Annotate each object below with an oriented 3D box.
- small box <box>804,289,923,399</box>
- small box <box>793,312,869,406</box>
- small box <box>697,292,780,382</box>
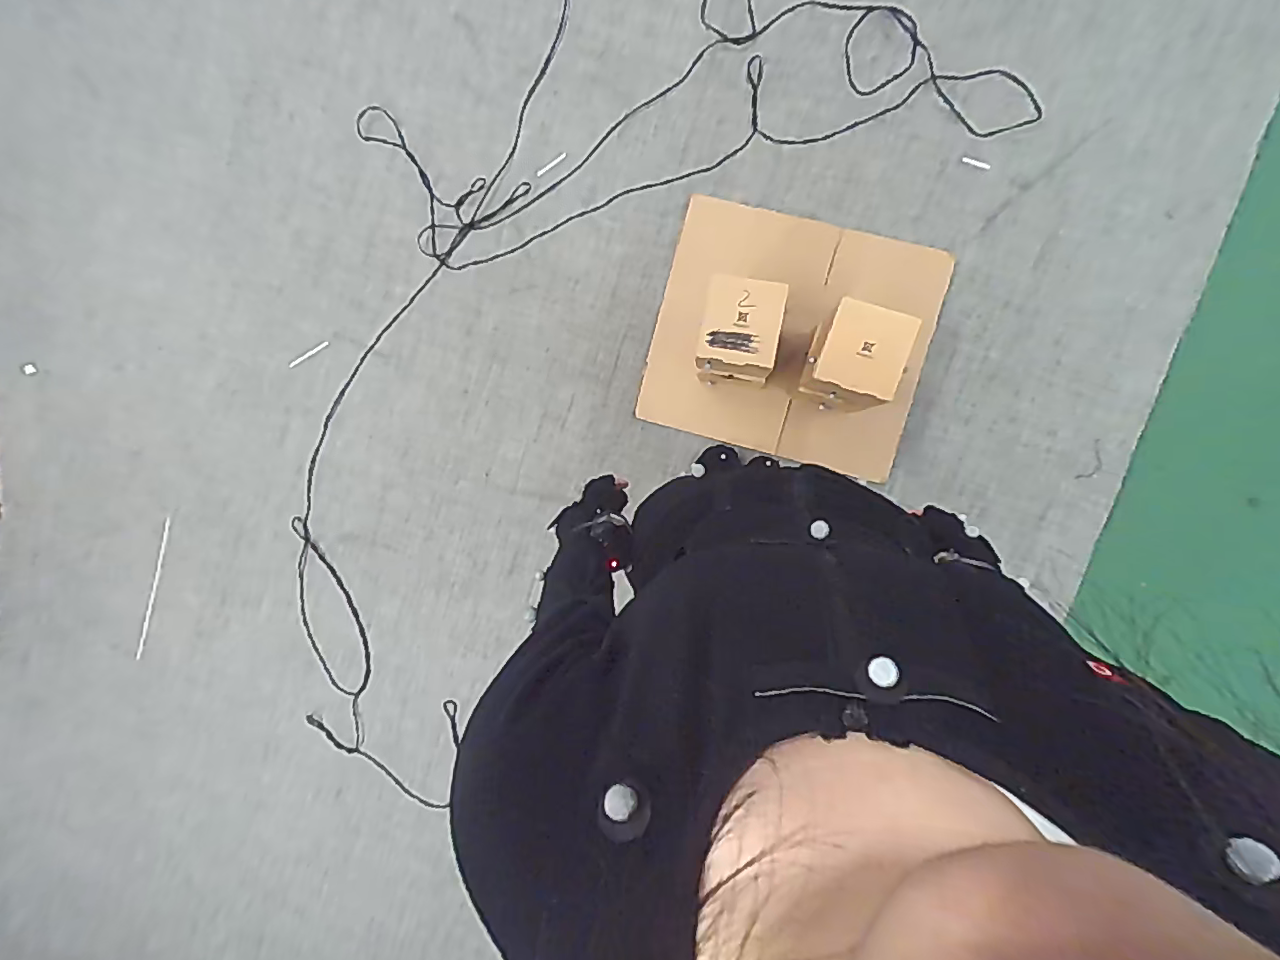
[{"bbox_3d":[0.468,-0.283,1.165,0.168,0.176,0.179,19,97,6],"label":"small box"},{"bbox_3d":[0.485,-0.290,1.326,0.168,0.176,0.179,16,97,7],"label":"small box"},{"bbox_3d":[0.242,-0.348,1.348,0.168,0.176,0.179,12,96,6],"label":"small box"}]
